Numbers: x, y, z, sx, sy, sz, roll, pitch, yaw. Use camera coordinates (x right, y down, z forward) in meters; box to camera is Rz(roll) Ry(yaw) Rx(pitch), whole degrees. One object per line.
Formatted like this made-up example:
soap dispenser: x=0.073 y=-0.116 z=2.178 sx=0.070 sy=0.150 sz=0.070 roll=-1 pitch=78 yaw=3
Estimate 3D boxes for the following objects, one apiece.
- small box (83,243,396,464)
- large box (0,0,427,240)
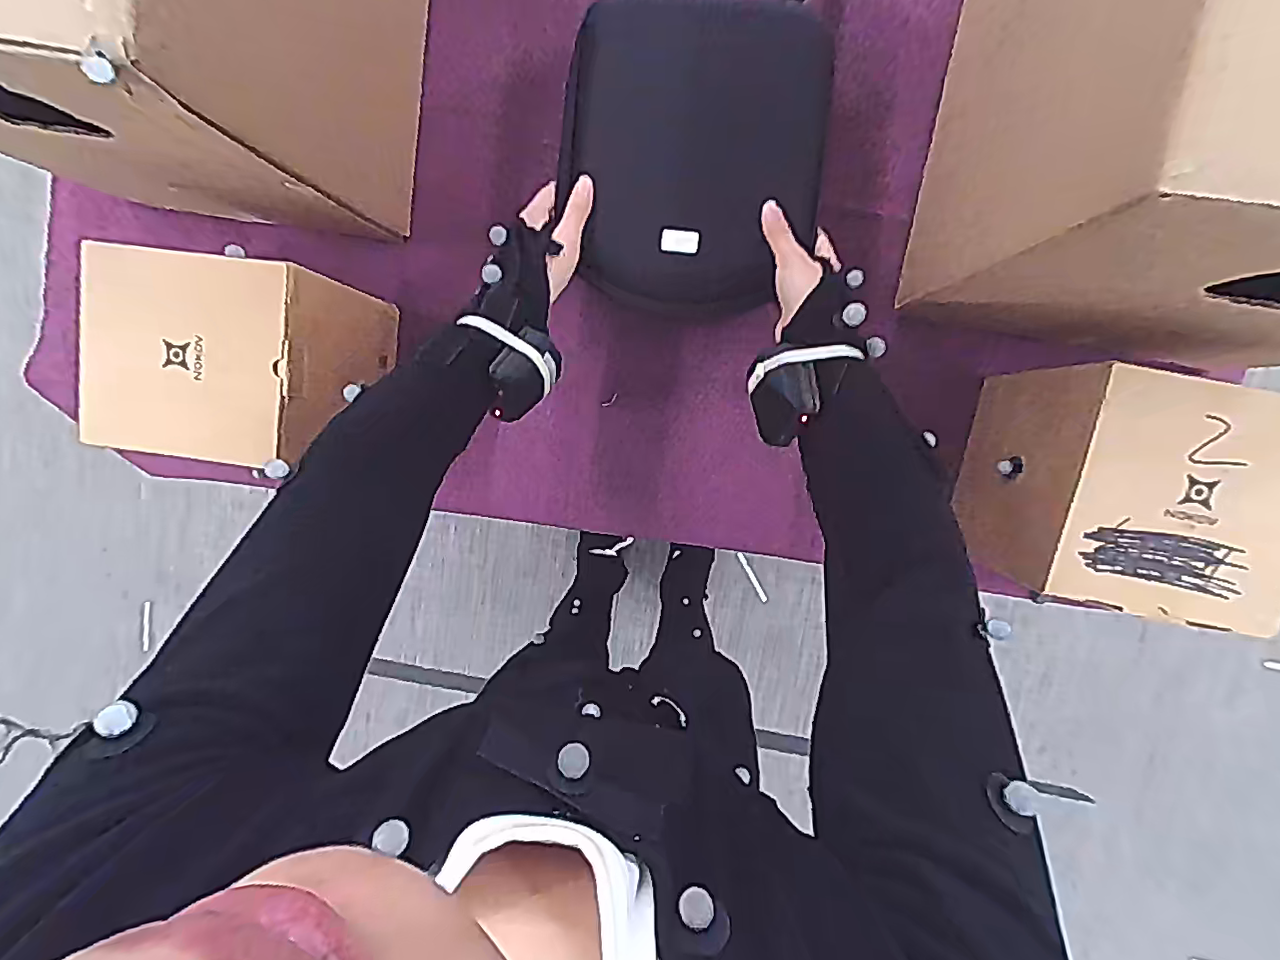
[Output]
small box: x=-0.368 y=-0.110 z=0.523 sx=0.179 sy=0.176 sz=0.168 roll=7 pitch=96 yaw=3
large box: x=-0.374 y=-0.449 z=0.411 sx=0.320 sy=0.320 sz=0.408 roll=8 pitch=100 yaw=2
